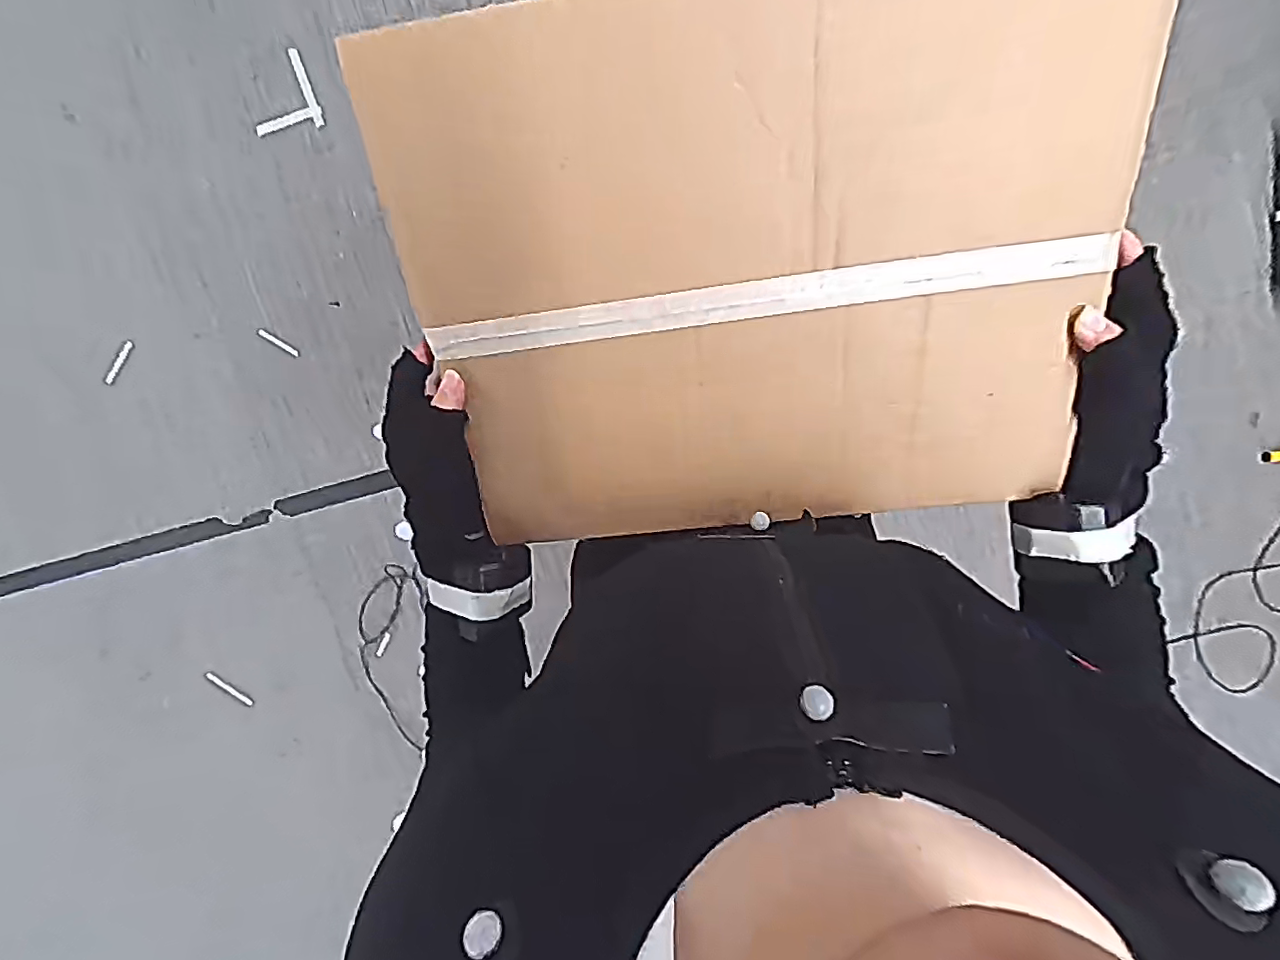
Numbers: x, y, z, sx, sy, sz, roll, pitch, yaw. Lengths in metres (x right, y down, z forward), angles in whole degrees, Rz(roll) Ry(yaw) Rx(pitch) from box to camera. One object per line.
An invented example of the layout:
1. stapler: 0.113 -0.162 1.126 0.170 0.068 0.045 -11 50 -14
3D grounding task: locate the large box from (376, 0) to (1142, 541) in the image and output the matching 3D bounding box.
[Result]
1. large box: 0.075 -0.175 0.473 0.408 0.320 0.320 -6 118 6
